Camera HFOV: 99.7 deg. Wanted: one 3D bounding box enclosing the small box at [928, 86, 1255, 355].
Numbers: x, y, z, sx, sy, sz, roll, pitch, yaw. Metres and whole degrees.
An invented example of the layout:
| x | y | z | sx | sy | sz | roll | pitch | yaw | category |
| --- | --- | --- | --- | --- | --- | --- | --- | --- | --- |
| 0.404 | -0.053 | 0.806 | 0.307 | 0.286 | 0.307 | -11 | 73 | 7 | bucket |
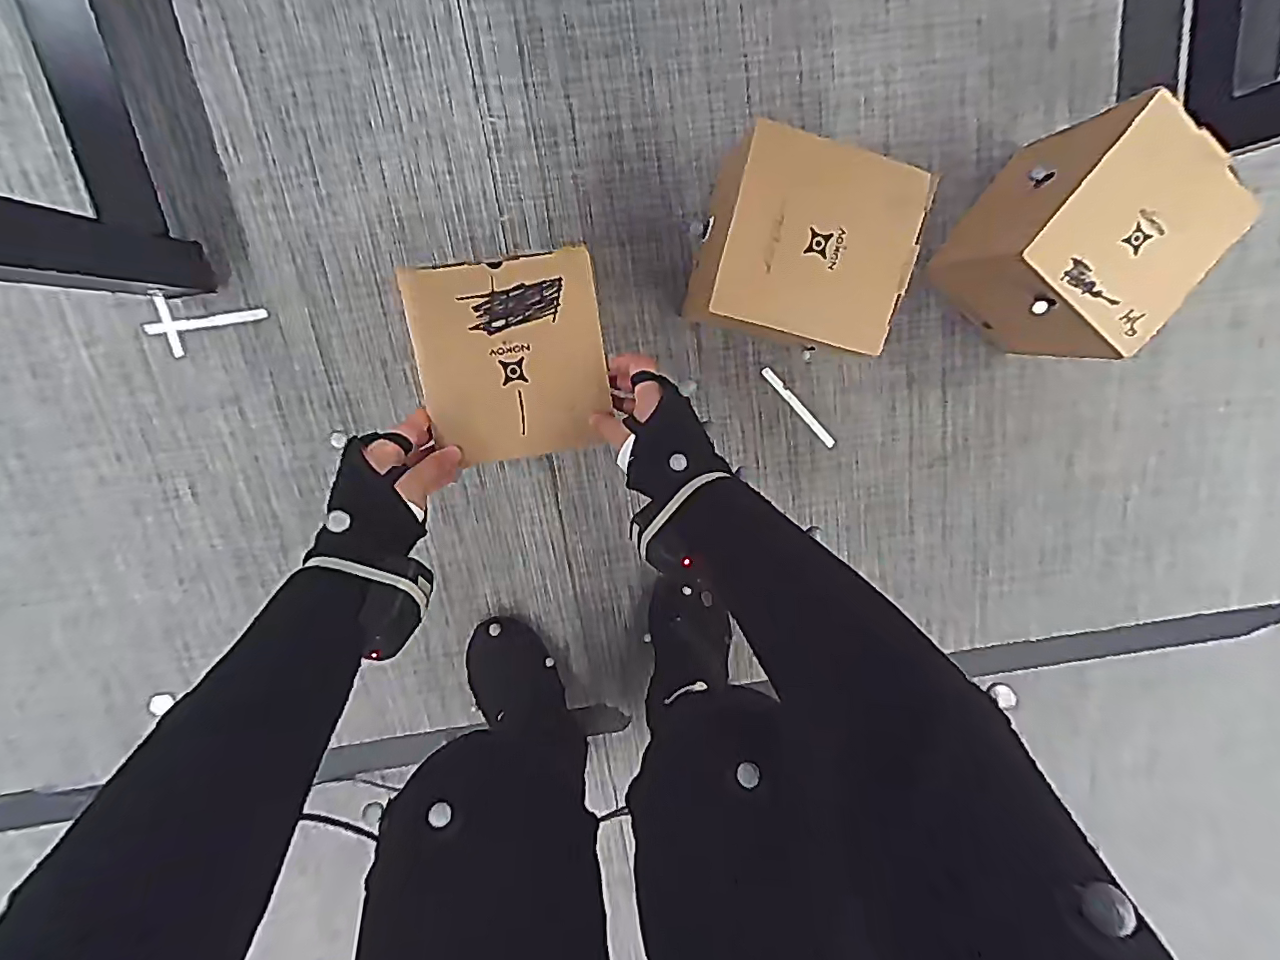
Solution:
| x | y | z | sx | sy | sz | roll | pitch | yaw | category |
| --- | --- | --- | --- | --- | --- | --- | --- | --- | --- |
| 0.459 | -0.255 | 0.581 | 0.168 | 0.176 | 0.179 | 34 | 99 | -12 | small box |

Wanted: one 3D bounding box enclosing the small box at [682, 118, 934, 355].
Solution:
| x | y | z | sx | sy | sz | roll | pitch | yaw | category |
| --- | --- | --- | --- | --- | --- | --- | --- | --- | --- |
| 0.156 | -0.235 | 0.566 | 0.179 | 0.176 | 0.168 | 12 | 103 | -7 | small box |

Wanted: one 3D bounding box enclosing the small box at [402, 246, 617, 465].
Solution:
| x | y | z | sx | sy | sz | roll | pitch | yaw | category |
| --- | --- | --- | --- | --- | --- | --- | --- | --- | --- |
| -0.122 | -0.123 | 0.559 | 0.168 | 0.176 | 0.179 | -10 | 103 | -5 | small box |
